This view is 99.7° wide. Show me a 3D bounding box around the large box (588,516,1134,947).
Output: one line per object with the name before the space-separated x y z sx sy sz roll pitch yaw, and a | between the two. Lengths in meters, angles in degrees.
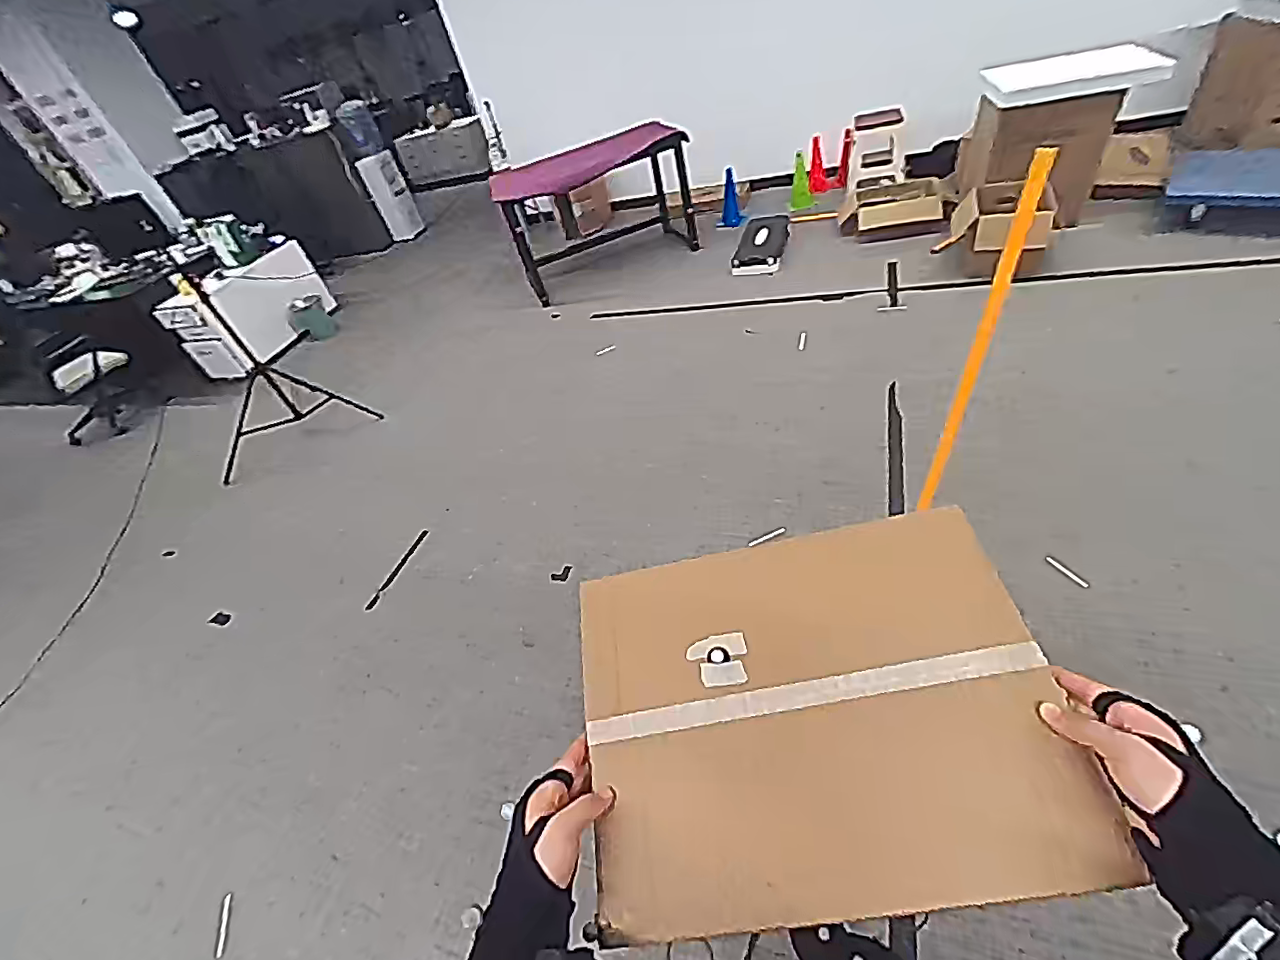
large box | 0.187 0.285 0.618 0.408 0.320 0.320 -14 54 8
